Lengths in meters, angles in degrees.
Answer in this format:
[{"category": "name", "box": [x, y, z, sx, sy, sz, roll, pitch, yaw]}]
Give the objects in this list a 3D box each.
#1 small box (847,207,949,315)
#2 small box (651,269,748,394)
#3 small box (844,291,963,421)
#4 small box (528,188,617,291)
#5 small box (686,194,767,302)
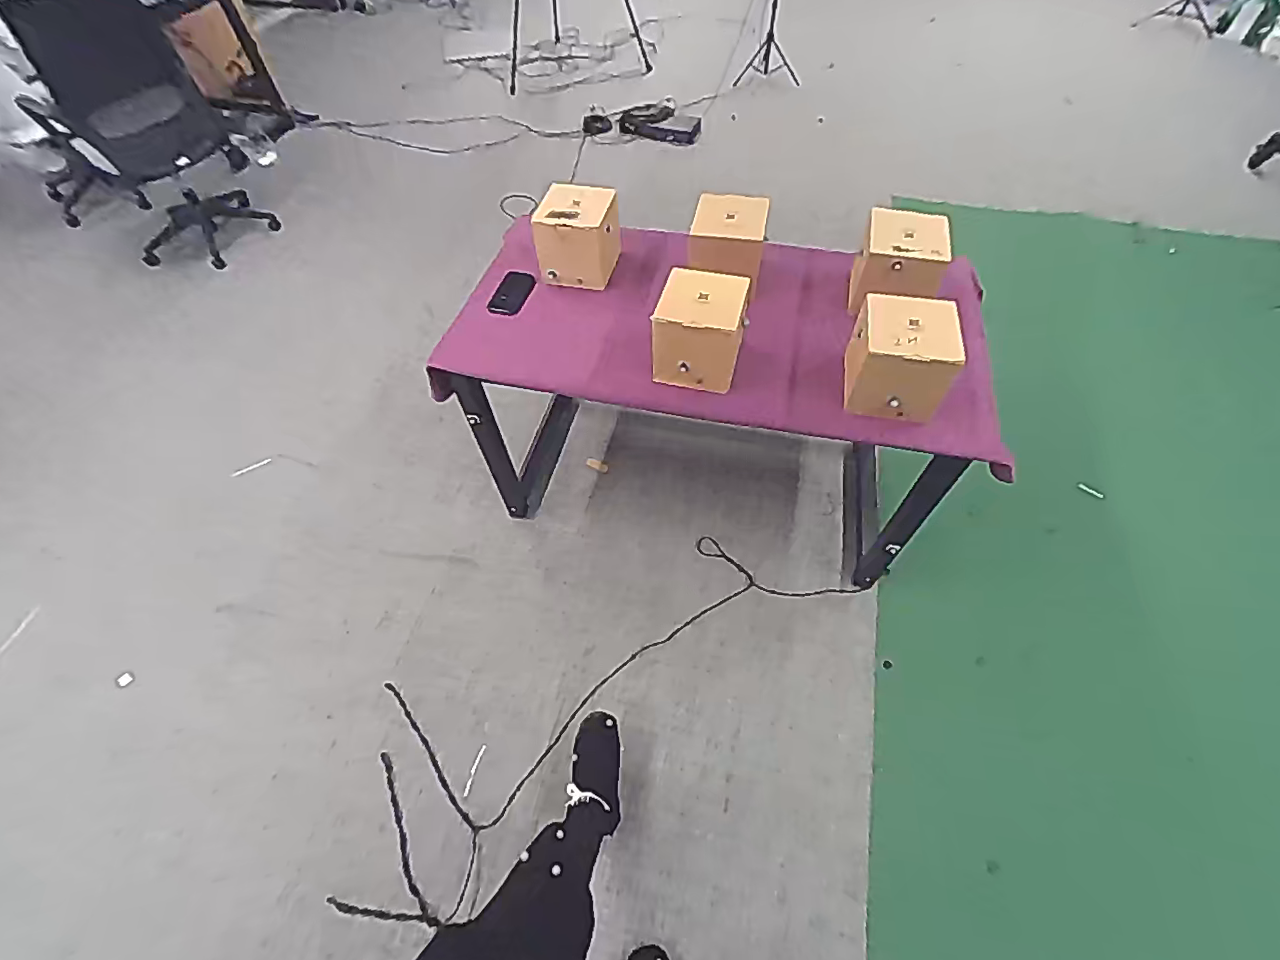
[{"category": "small box", "box": [0.581, -0.491, 1.236, 0.168, 0.176, 0.179, 10, 57, 11]}, {"category": "small box", "box": [0.122, -0.310, 1.137, 0.168, 0.176, 0.179, 11, 56, 10]}, {"category": "small box", "box": [0.507, -0.243, 1.066, 0.168, 0.176, 0.179, 8, 57, 10]}, {"category": "small box", "box": [-0.158, -0.595, 1.344, 0.168, 0.176, 0.179, 10, 56, 9]}, {"category": "small box", "box": [0.204, -0.556, 1.301, 0.168, 0.176, 0.179, 9, 58, 10]}]
